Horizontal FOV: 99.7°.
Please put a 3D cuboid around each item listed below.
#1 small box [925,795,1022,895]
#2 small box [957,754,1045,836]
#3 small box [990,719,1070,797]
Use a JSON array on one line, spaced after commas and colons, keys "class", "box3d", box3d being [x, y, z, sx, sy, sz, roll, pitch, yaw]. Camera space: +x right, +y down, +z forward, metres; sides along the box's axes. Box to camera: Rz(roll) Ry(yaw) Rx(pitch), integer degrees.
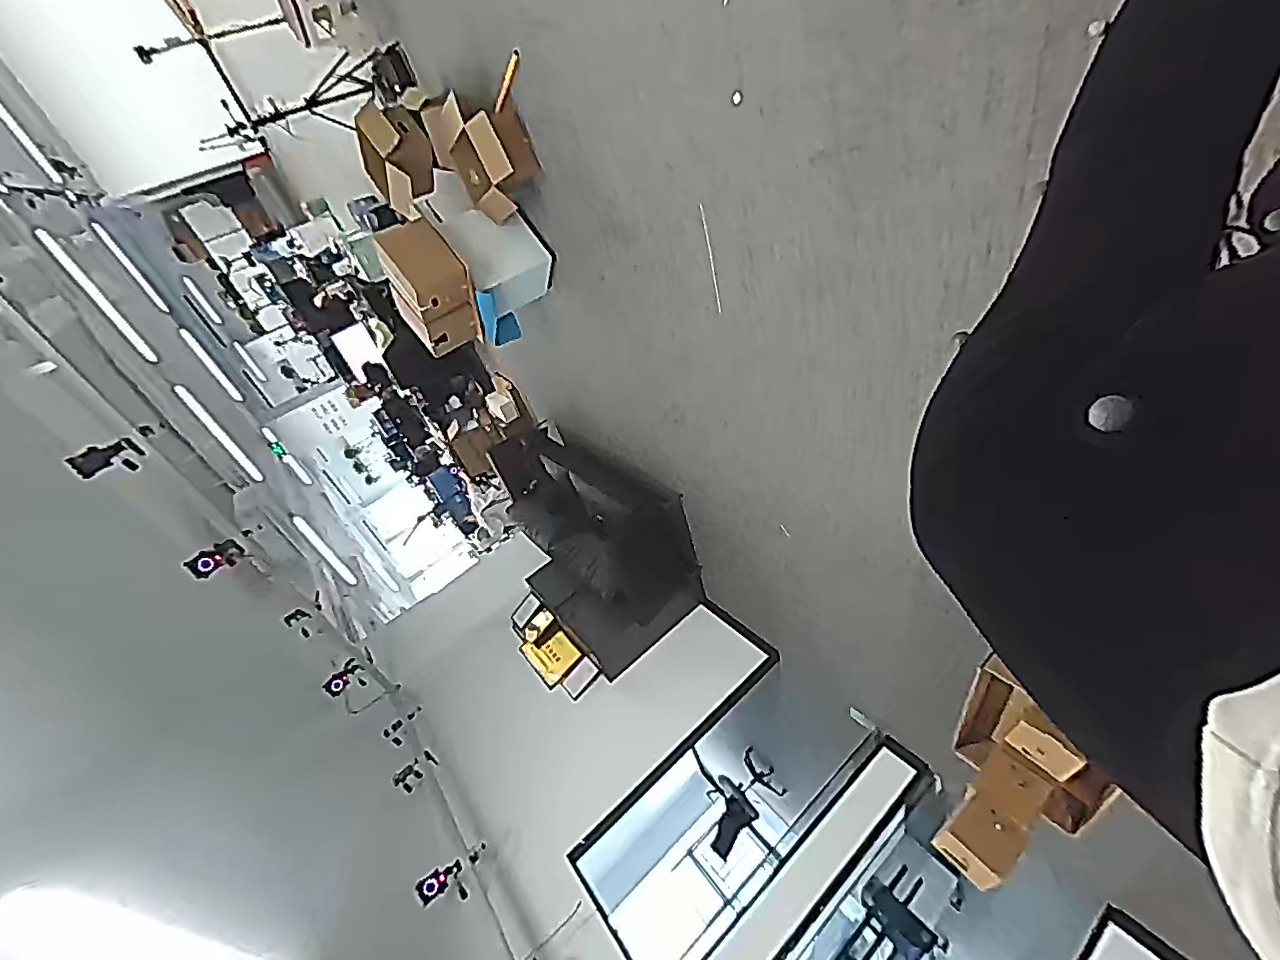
[{"class": "small box", "box3d": [1.000, 1.093, 1.624, 0.168, 0.176, 0.179, 39, 151, 36]}, {"class": "small box", "box3d": [1.122, 1.004, 1.686, 0.168, 0.176, 0.179, 33, 148, 44]}, {"class": "small box", "box3d": [1.247, 0.922, 1.749, 0.168, 0.176, 0.179, 32, 148, 43]}]
